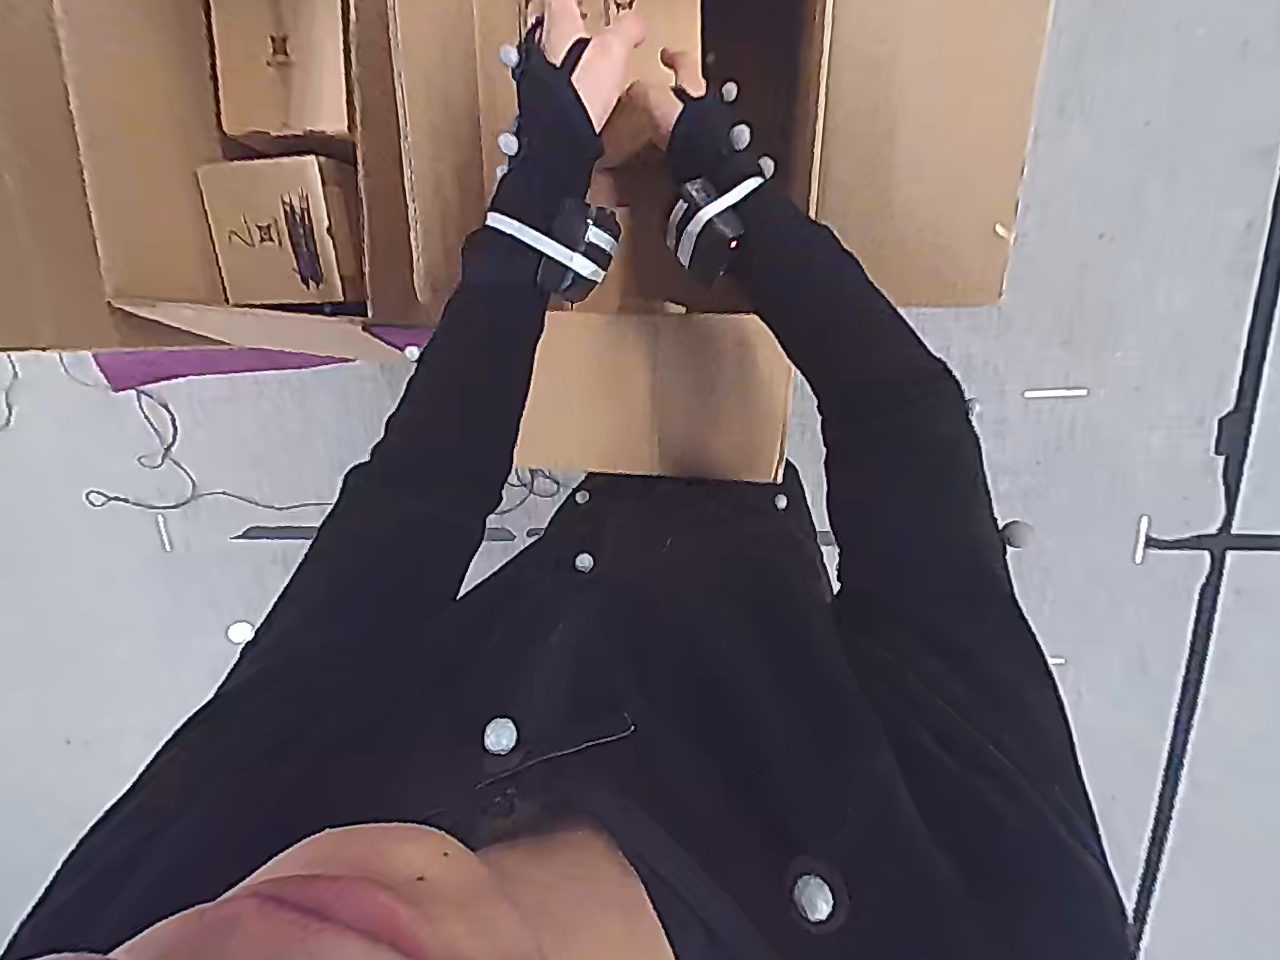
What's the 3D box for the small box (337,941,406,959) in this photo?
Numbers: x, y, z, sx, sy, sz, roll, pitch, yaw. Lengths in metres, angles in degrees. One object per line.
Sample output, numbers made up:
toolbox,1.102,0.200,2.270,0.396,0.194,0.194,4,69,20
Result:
small box,-0.732,1.366,1.424,0.179,0.176,0.168,-13,104,10
